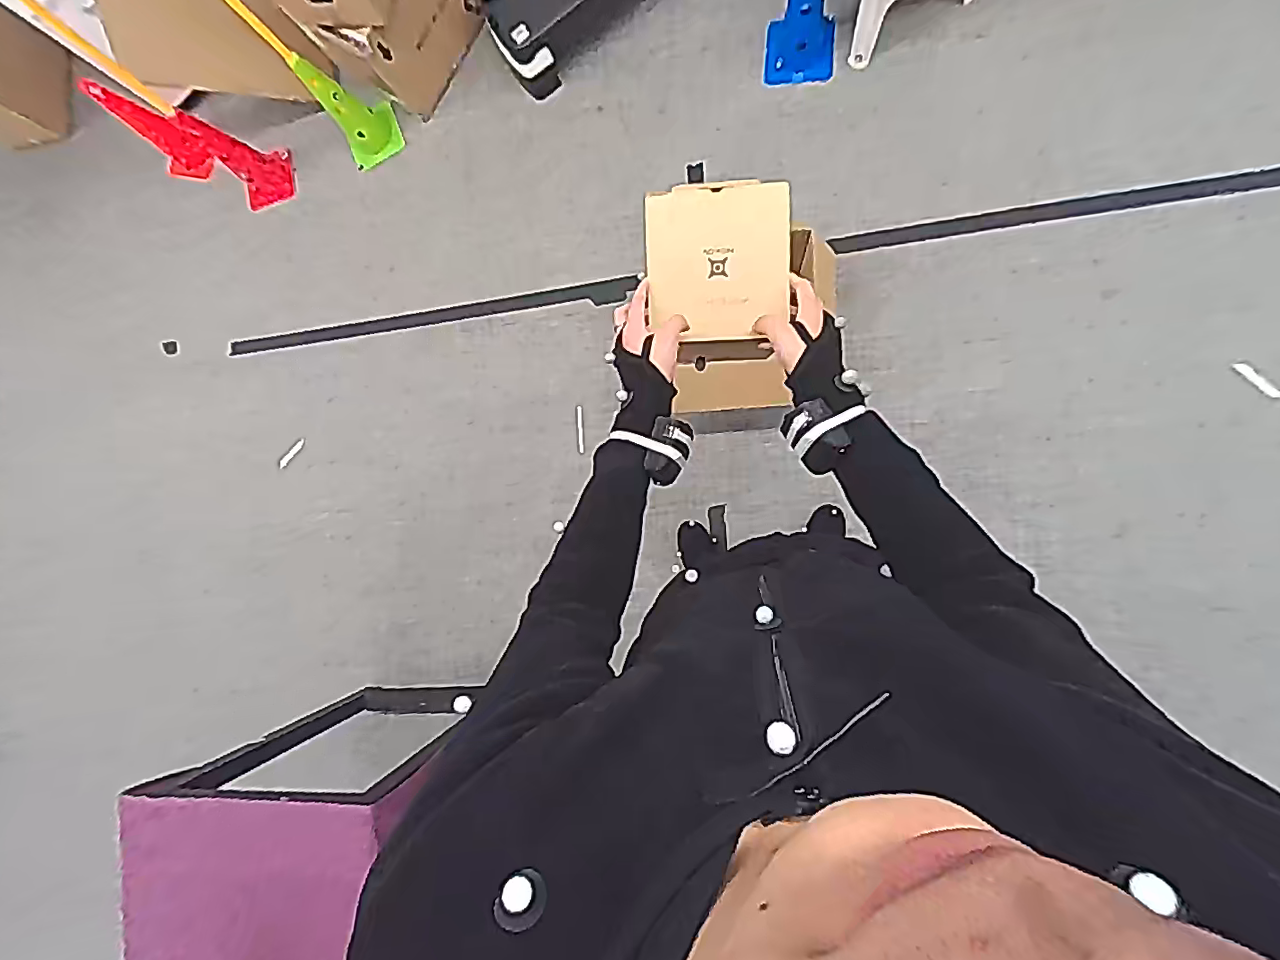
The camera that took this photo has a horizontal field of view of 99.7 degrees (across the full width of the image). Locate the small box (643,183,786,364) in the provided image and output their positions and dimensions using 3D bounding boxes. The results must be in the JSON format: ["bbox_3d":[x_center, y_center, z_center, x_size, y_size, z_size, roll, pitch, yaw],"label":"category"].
[{"bbox_3d":[0.091,-0.256,0.707,0.168,0.176,0.179,-2,93,5],"label":"small box"}]
